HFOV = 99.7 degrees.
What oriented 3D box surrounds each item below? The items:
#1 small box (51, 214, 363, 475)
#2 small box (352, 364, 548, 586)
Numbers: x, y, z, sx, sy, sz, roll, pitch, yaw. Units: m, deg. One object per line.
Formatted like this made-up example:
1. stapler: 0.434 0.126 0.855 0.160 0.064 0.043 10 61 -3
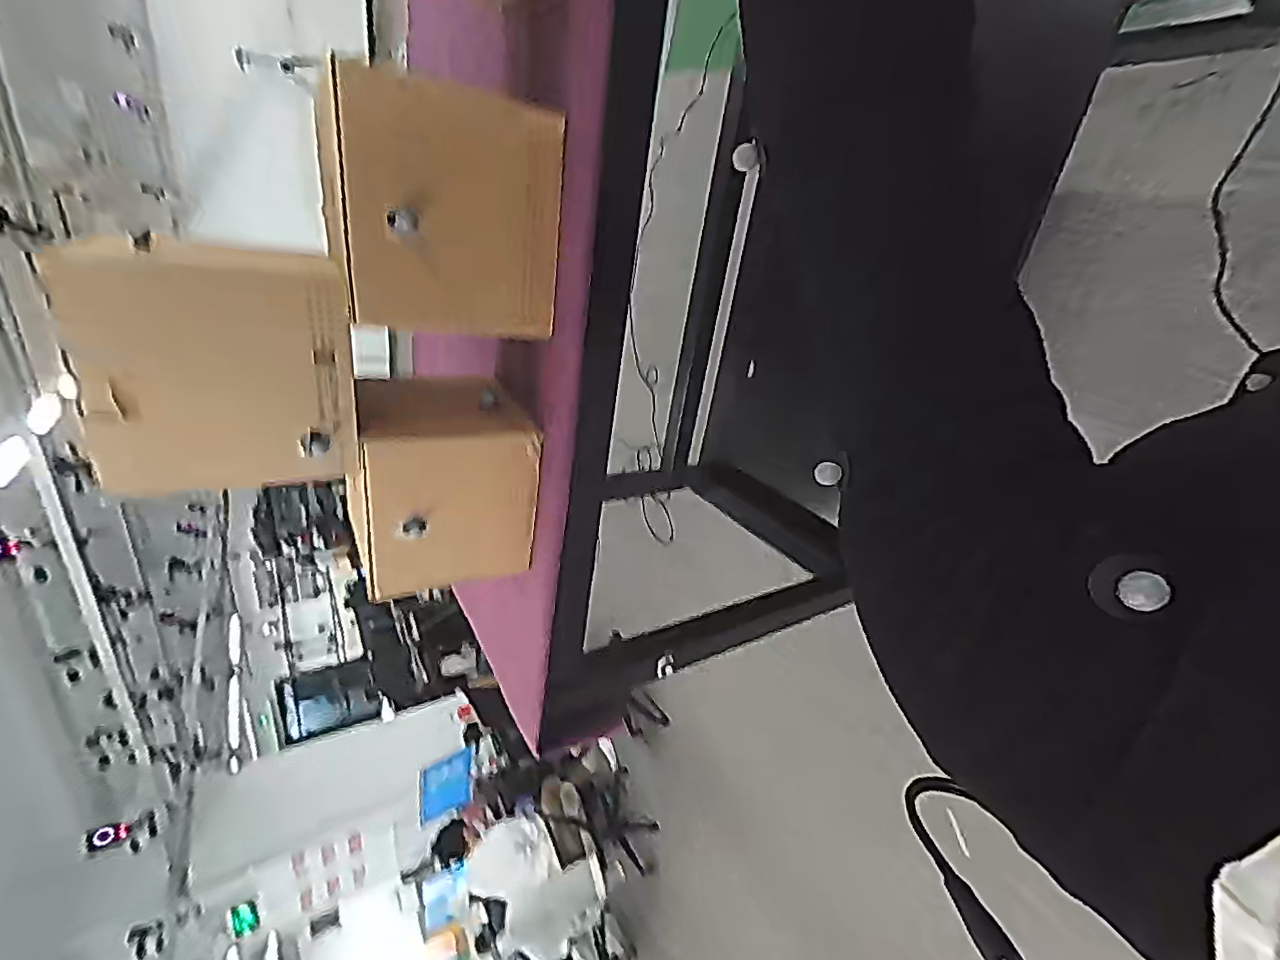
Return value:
1. small box: -0.336 -0.119 0.460 0.179 0.176 0.168 40 127 49
2. small box: -0.211 -0.015 0.588 0.168 0.176 0.179 43 129 46
